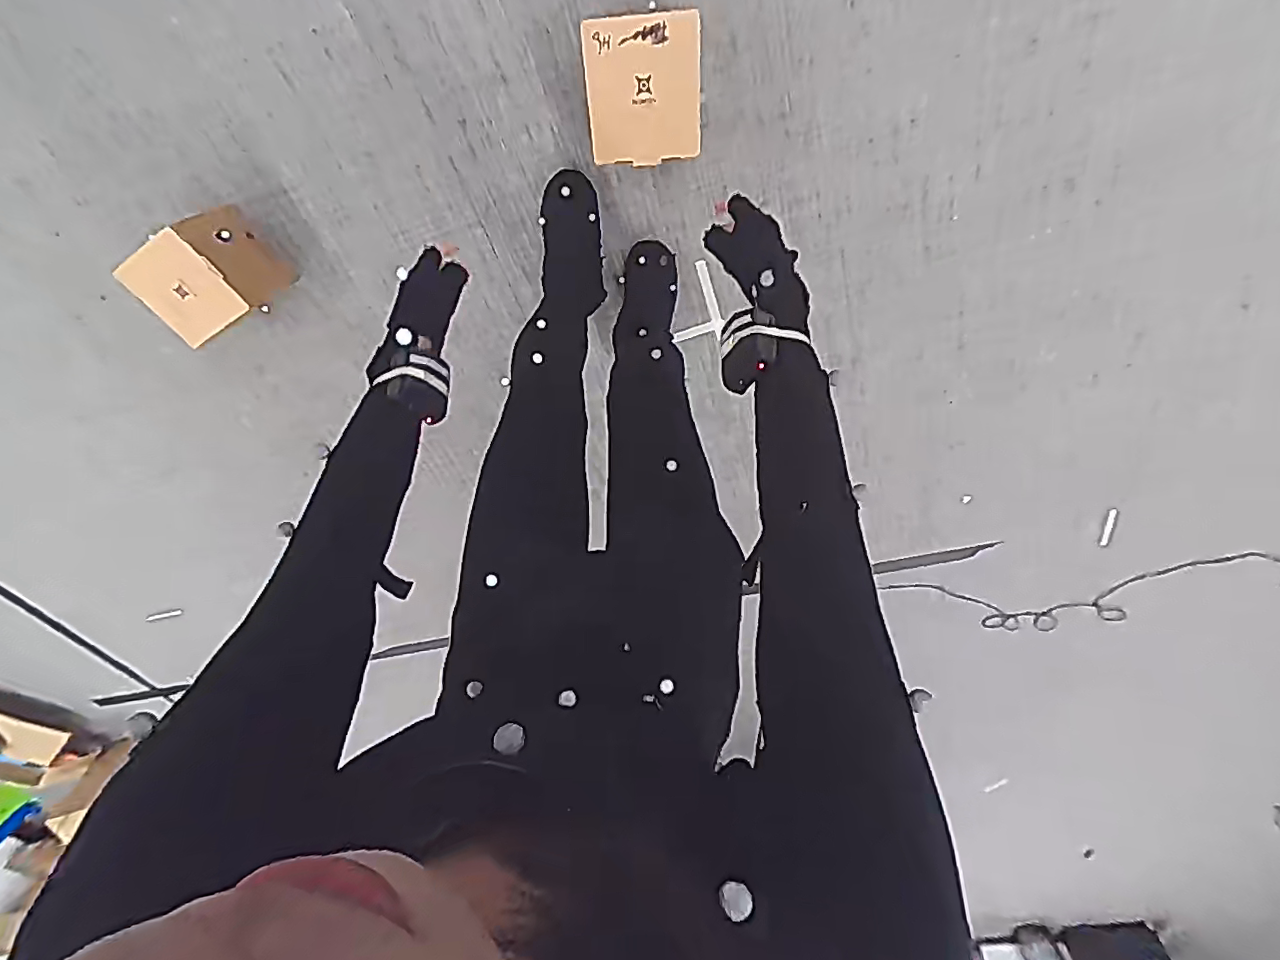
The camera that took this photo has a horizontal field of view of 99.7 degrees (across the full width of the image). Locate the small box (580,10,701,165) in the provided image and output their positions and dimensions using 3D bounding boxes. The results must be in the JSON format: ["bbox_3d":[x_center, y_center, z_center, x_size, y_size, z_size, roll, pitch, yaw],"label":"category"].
[{"bbox_3d":[0.007,-0.604,0.833,0.168,0.176,0.179,-2,129,3],"label":"small box"}]

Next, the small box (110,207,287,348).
[{"bbox_3d":[-0.819,-0.389,1.029,0.179,0.176,0.168,-23,122,20],"label":"small box"}]
